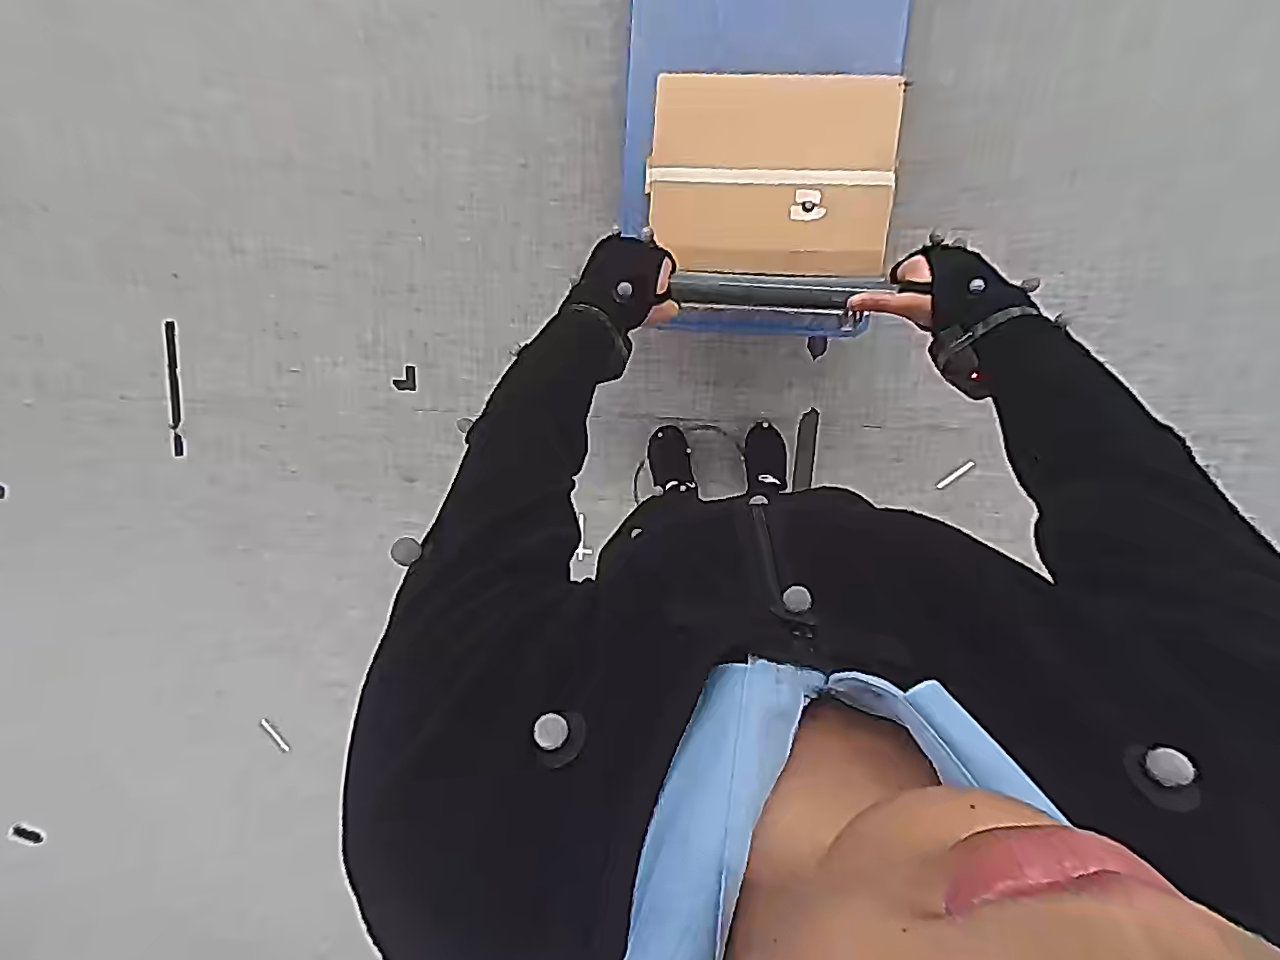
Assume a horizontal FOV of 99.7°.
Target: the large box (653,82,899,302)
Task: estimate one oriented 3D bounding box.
[{"bbox_3d":[0.236,-0.537,1.074,0.408,0.320,0.320,3,101,4],"label":"large box"}]
